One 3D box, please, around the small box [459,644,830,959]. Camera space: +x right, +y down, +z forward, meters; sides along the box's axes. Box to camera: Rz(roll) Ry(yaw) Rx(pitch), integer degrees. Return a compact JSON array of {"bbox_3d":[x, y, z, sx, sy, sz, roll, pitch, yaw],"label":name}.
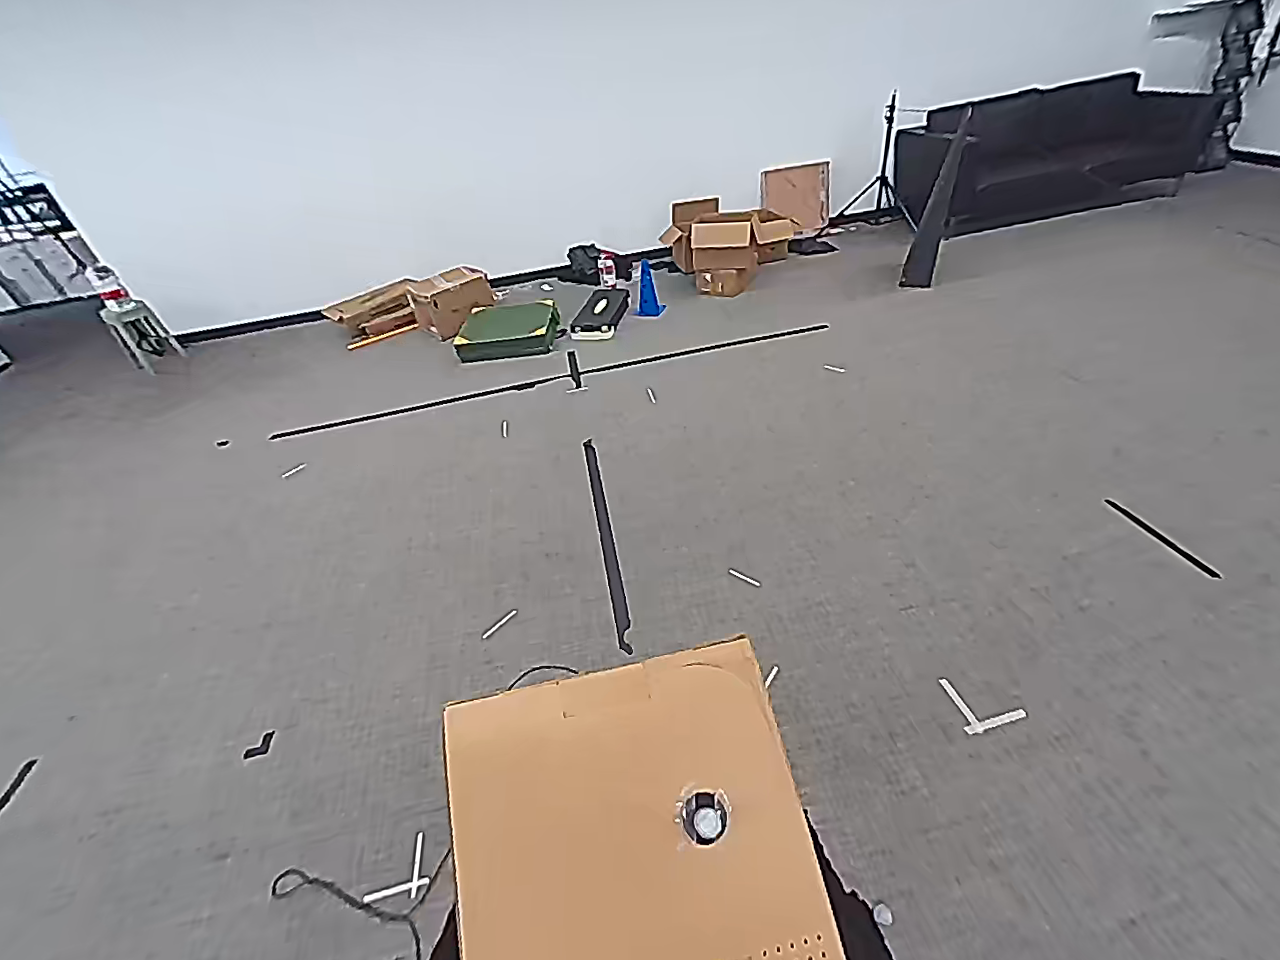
[{"bbox_3d":[-0.002,0.215,0.347,0.168,0.179,0.176,-11,69,-5],"label":"small box"}]
